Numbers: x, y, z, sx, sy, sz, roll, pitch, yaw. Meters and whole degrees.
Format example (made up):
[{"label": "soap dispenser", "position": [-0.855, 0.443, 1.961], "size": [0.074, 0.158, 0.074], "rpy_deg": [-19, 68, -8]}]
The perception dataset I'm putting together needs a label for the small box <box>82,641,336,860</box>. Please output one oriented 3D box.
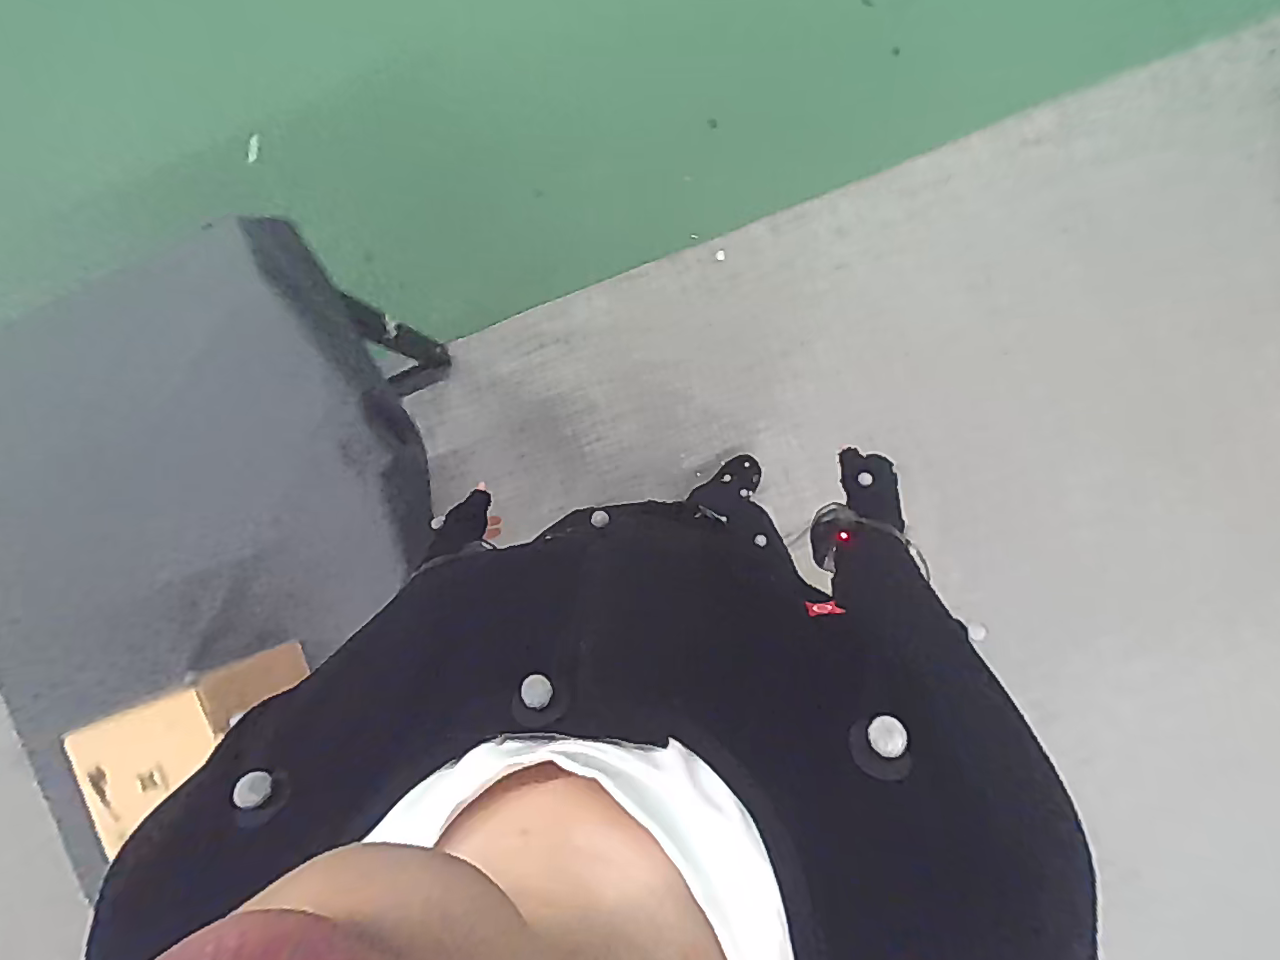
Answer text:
[{"label": "small box", "position": [-0.529, 0.330, 0.697], "size": [0.179, 0.176, 0.168], "rpy_deg": [-21, 90, 3]}]
